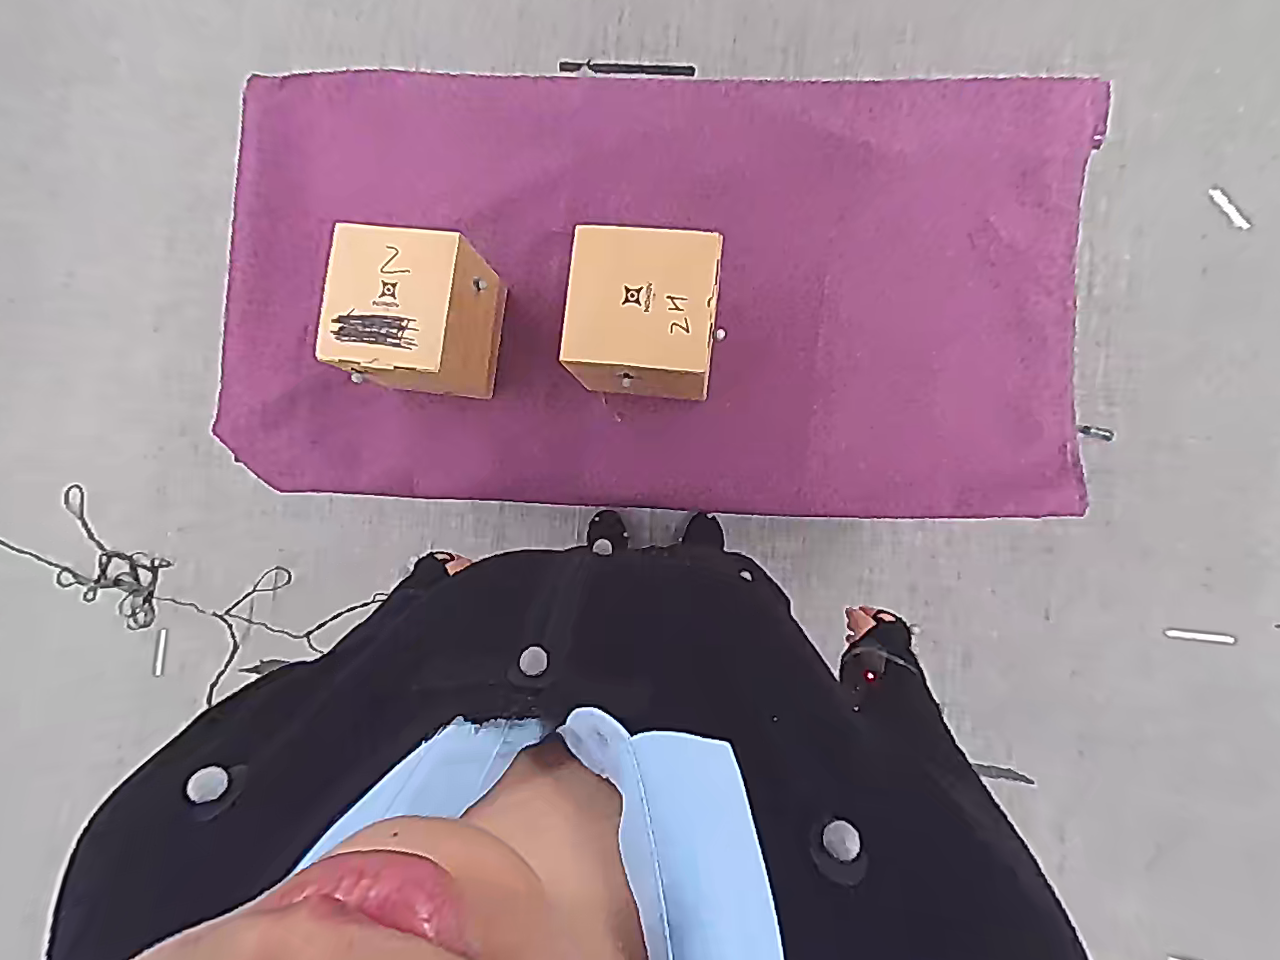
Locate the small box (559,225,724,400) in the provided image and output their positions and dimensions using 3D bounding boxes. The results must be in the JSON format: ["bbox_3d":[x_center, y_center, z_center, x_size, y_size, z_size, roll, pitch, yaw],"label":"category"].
[{"bbox_3d":[0.009,-0.206,0.704,0.179,0.176,0.168,7,88,6],"label":"small box"}]
